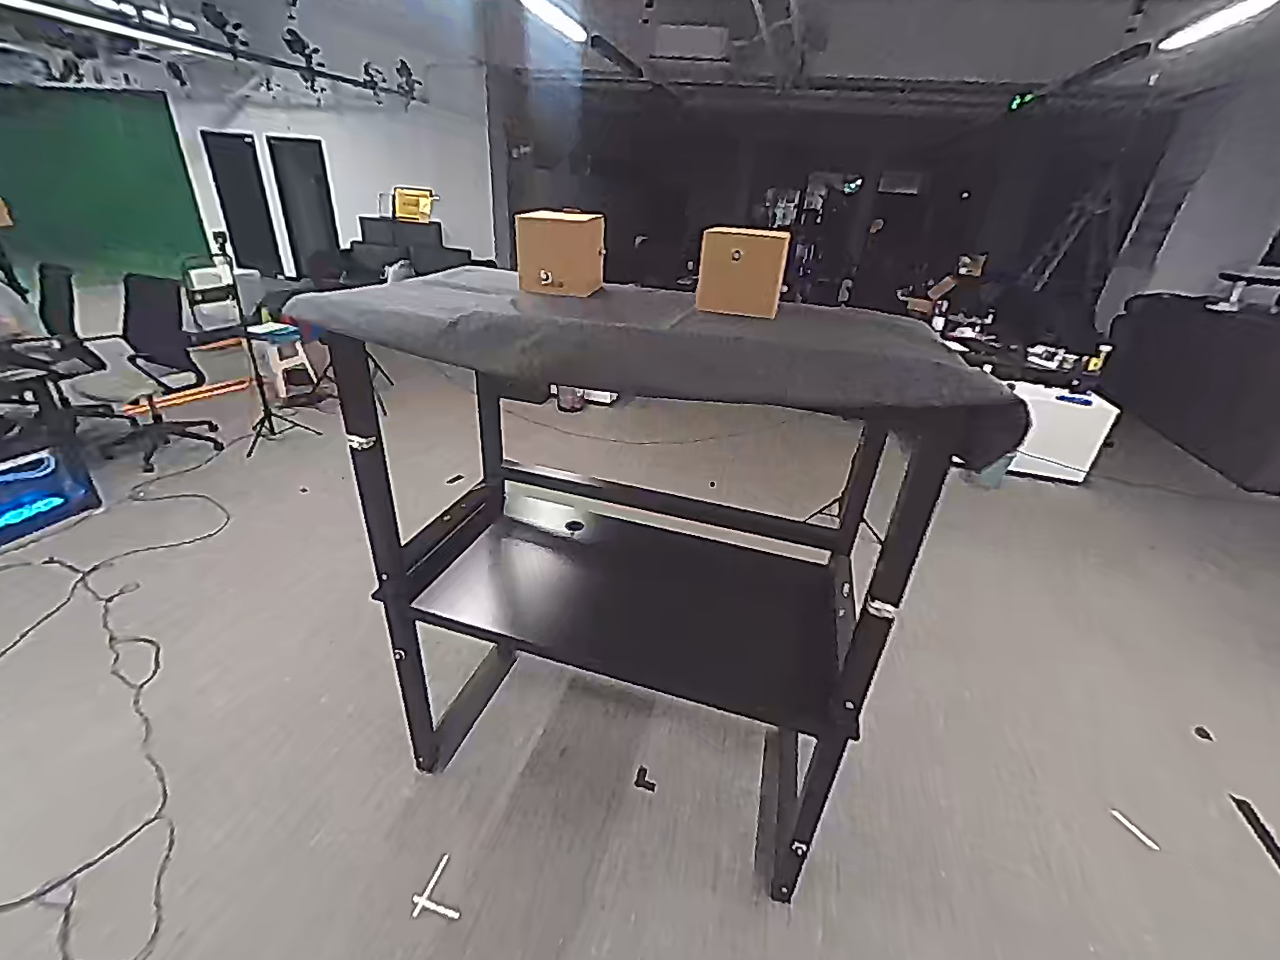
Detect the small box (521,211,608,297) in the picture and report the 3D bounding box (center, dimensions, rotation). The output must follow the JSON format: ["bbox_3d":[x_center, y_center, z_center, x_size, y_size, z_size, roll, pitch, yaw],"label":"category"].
[{"bbox_3d":[-0.178,-0.550,1.308,0.168,0.176,0.179,7,29,8],"label":"small box"}]

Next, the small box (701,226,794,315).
[{"bbox_3d":[0.243,-0.478,1.229,0.179,0.176,0.168,11,30,13],"label":"small box"}]
